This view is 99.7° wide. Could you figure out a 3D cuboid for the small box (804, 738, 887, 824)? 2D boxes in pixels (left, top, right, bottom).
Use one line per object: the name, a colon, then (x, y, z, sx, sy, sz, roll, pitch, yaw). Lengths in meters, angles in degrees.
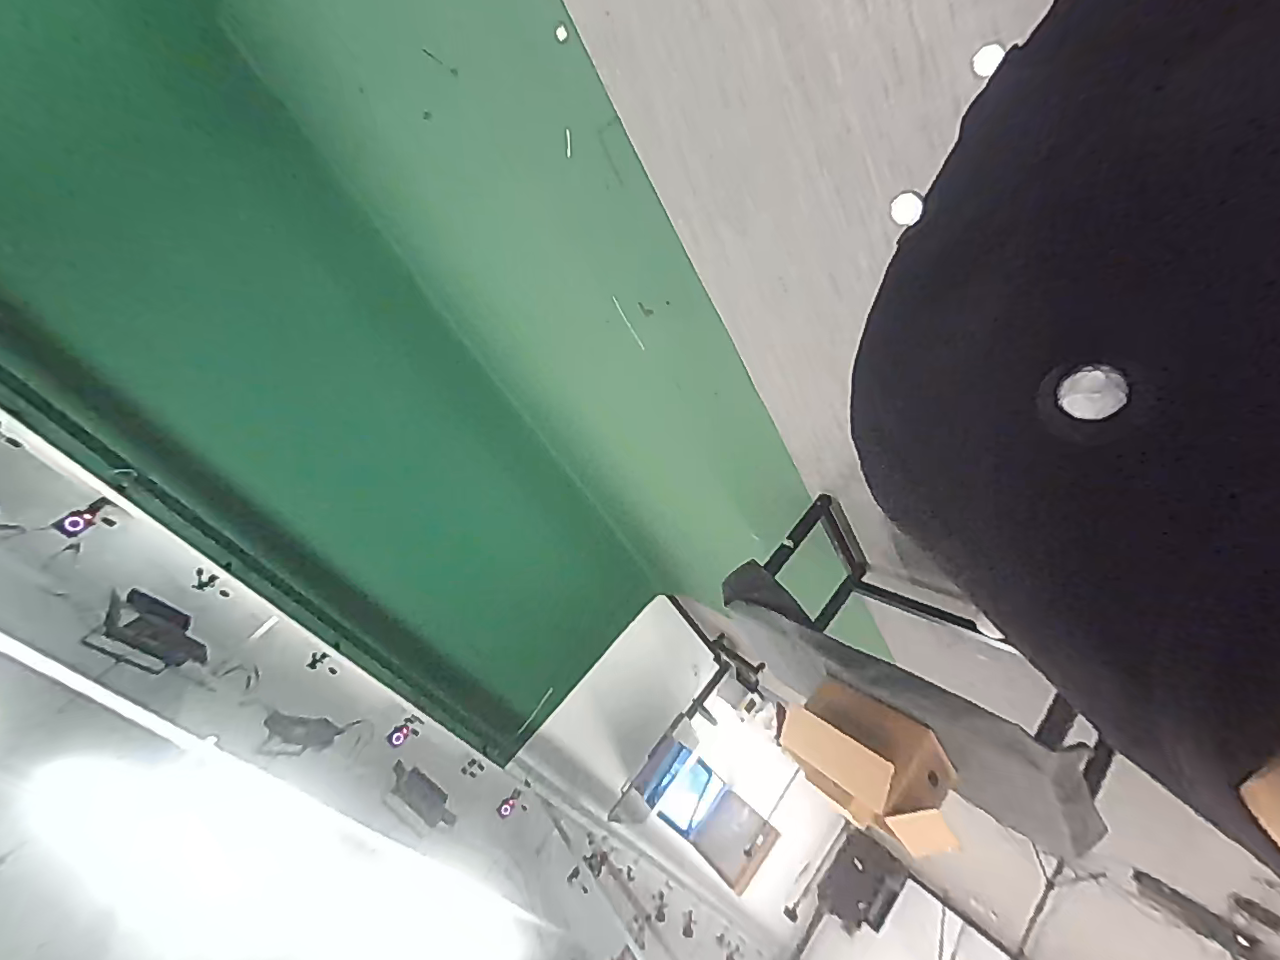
small box: (0.702, 1.014, 1.842, 0.179, 0.176, 0.168, 16, 147, 56)
